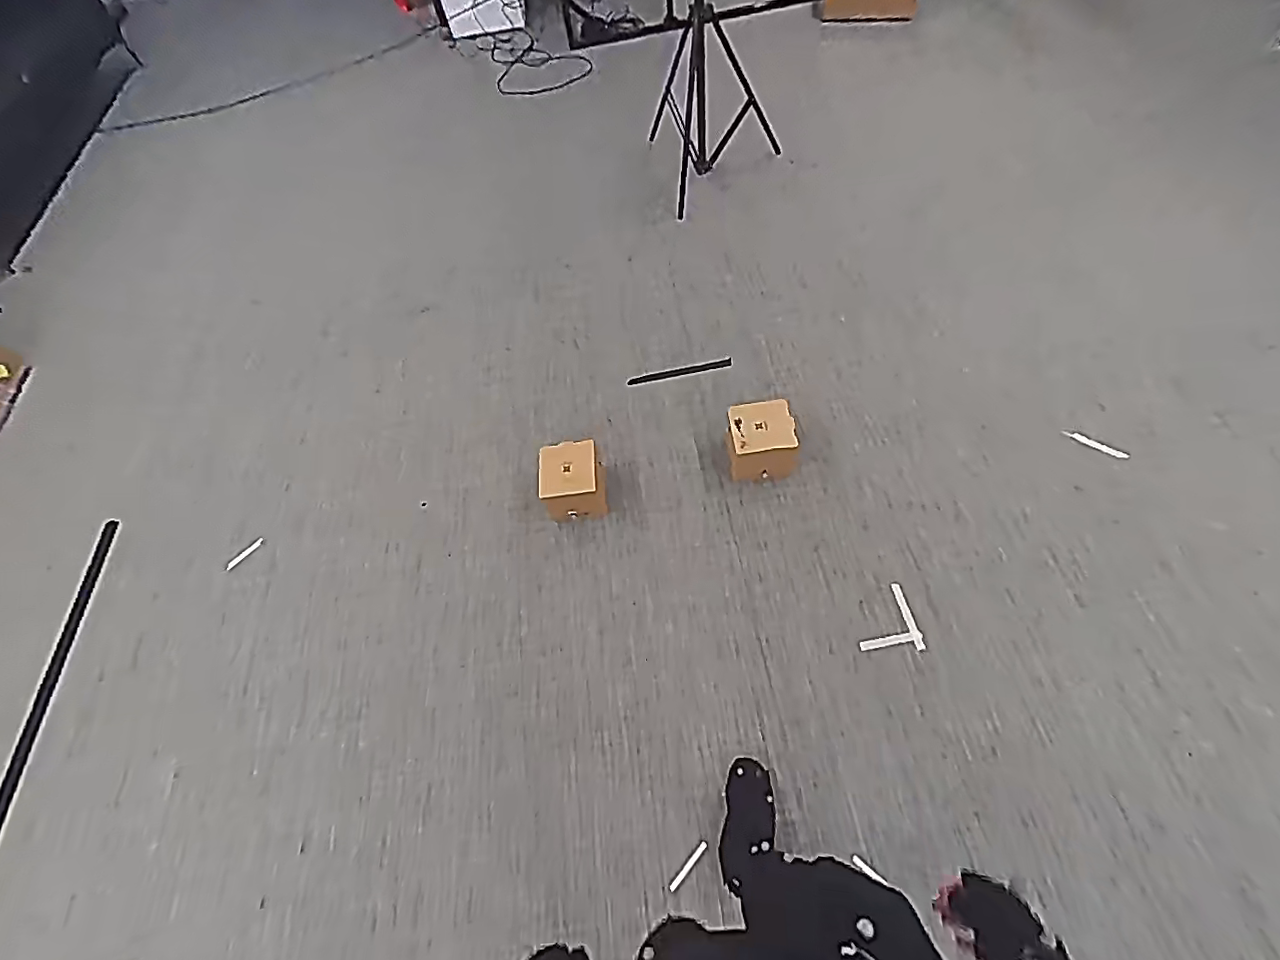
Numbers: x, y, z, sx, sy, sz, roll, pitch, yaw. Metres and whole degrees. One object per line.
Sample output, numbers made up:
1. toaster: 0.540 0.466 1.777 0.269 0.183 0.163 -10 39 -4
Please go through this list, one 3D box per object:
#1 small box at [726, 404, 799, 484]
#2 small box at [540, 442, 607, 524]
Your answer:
1. small box: 0.356 -0.103 1.602 0.179 0.176 0.168 -7 61 3
2. small box: -0.196 0.012 1.616 0.168 0.176 0.179 -8 61 5
